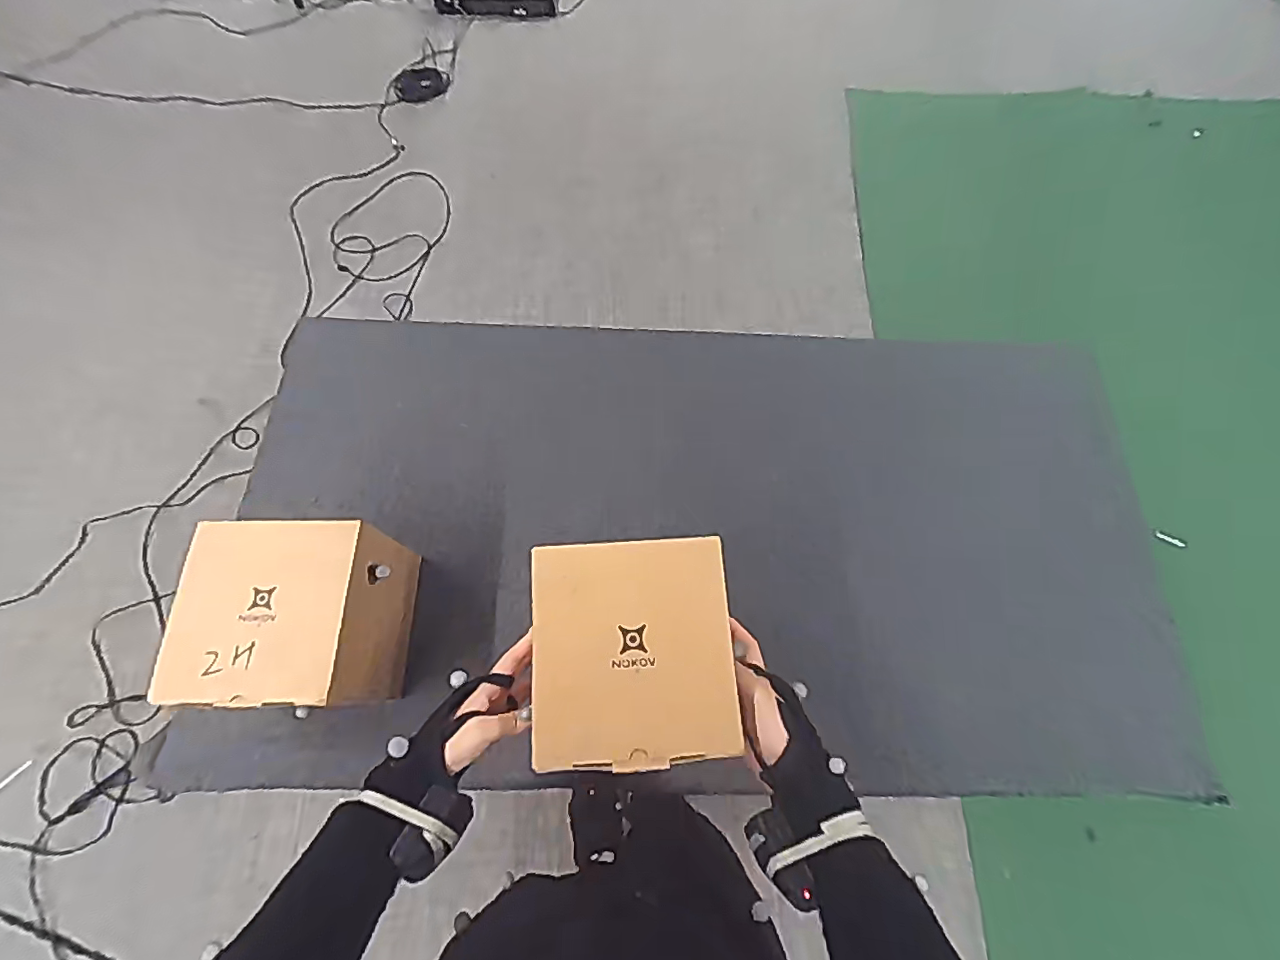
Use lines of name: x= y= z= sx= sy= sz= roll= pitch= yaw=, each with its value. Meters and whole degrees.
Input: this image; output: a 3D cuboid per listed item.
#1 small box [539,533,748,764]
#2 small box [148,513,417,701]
small box: x=-0.006 y=0.158 z=0.519 sx=0.168 sy=0.176 sz=0.179 roll=-3 pitch=72 yaw=-4
small box: x=-0.361 y=0.145 z=0.589 sx=0.168 sy=0.176 sz=0.179 roll=1 pitch=70 yaw=0
